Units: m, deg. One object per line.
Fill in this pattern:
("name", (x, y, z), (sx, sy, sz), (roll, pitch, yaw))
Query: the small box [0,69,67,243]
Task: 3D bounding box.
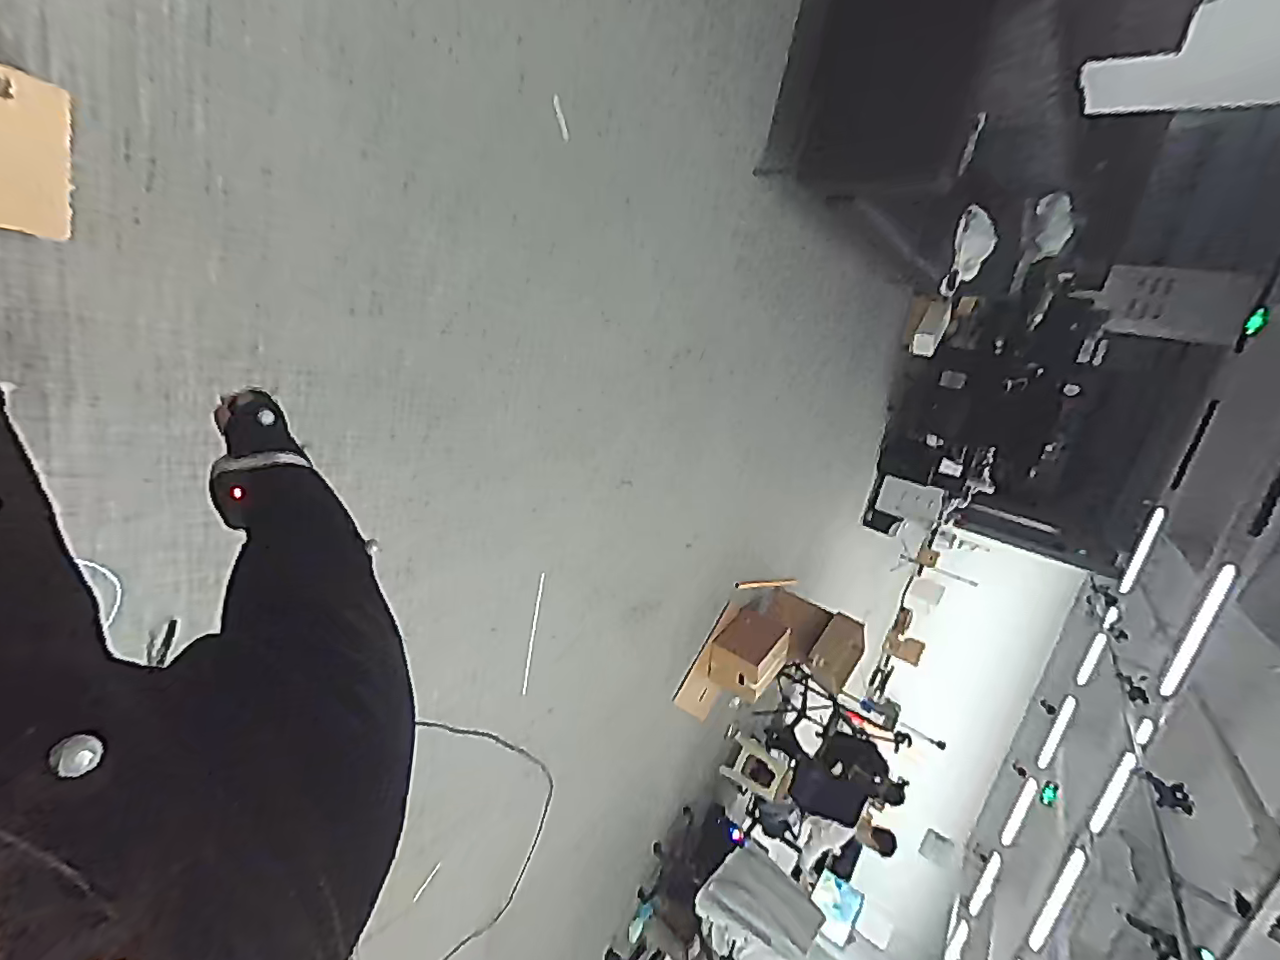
("small box", (-0.812, -0.402, 0.640), (0.168, 0.176, 0.179), (-3, 112, -54))
